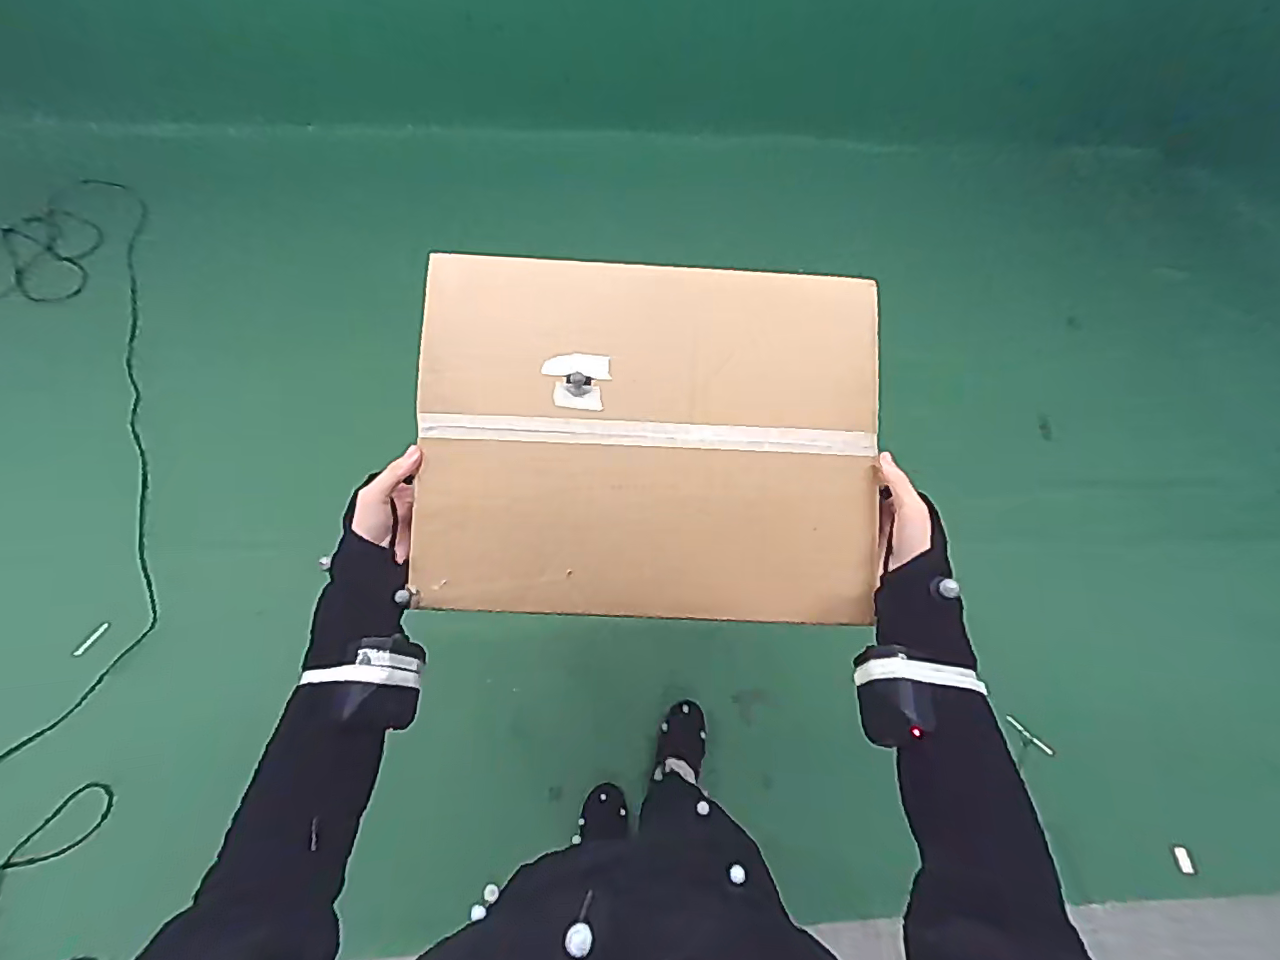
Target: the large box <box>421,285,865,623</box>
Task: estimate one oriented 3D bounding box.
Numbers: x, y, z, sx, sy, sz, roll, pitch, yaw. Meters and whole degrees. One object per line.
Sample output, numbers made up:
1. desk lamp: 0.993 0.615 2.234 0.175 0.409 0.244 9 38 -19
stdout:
1. large box: 0.005 -0.015 0.642 0.408 0.320 0.320 1 84 -1
